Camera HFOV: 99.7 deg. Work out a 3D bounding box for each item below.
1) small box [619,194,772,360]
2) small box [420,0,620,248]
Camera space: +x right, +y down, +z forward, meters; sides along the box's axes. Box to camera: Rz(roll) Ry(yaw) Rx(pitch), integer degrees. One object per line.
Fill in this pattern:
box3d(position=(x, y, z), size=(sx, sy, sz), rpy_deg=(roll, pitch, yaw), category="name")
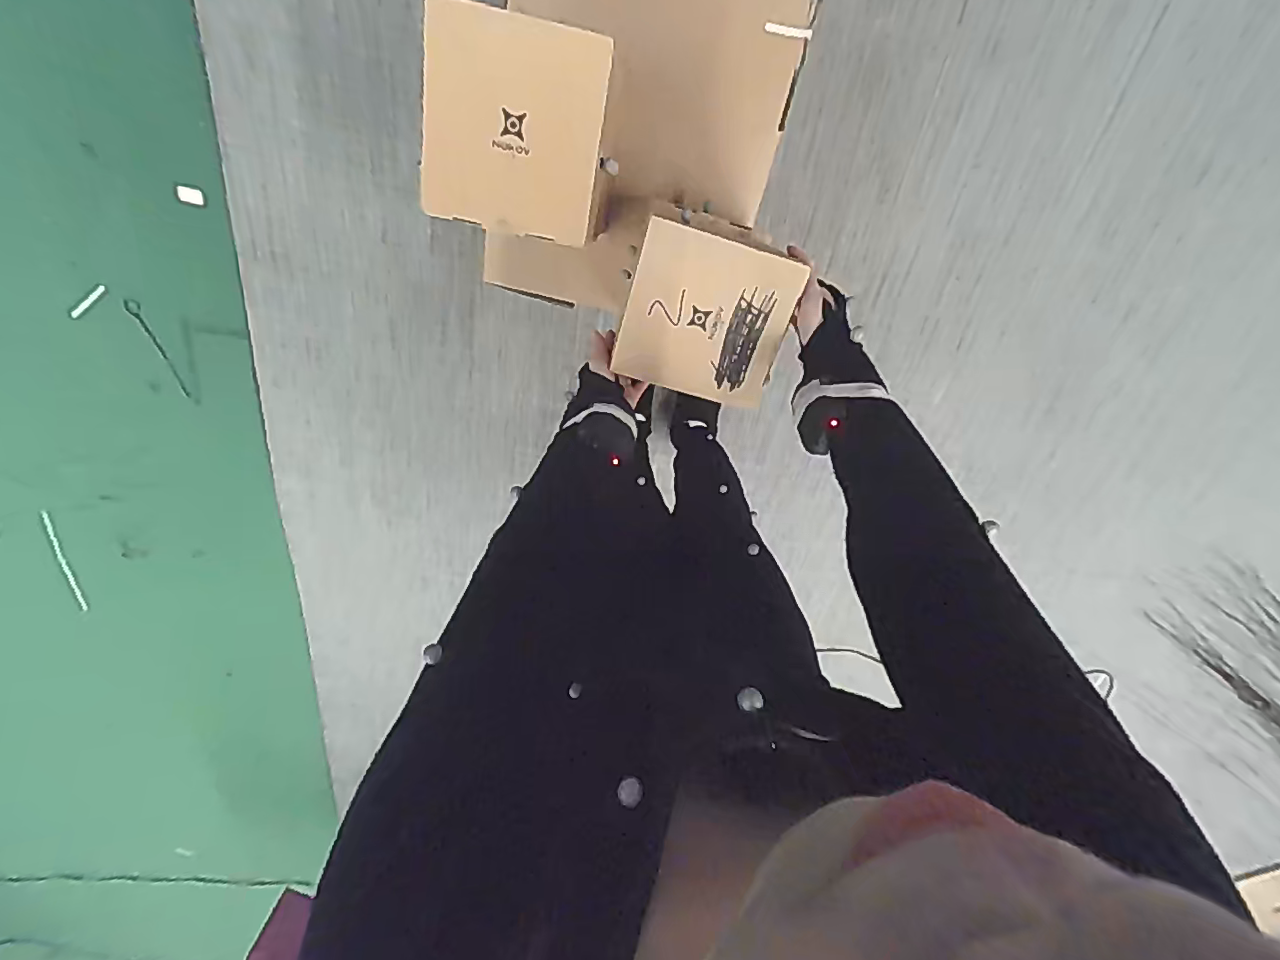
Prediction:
box3d(position=(0.068, -0.297, 0.785), size=(0.168, 0.176, 0.179), rpy_deg=(13, 116, -7), category="small box")
box3d(position=(-0.117, -0.364, 0.571), size=(0.168, 0.176, 0.179), rpy_deg=(12, 119, -5), category="small box")
